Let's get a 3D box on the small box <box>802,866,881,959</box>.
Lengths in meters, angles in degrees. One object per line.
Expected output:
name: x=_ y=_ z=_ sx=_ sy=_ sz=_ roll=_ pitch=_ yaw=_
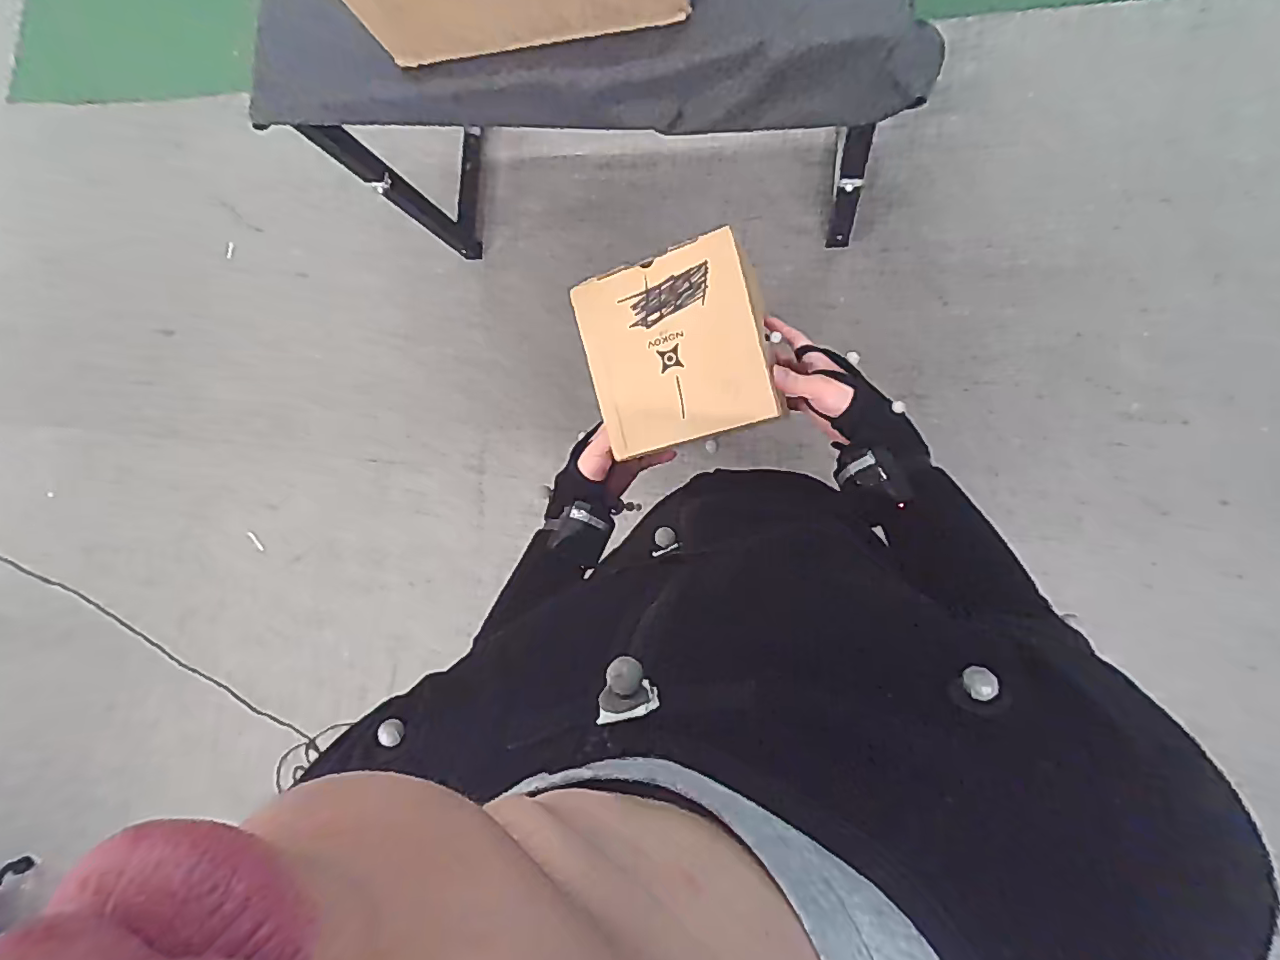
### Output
small box: x=0.502 y=1.110 z=1.354 sx=0.168 sy=0.176 sz=0.179 roll=-8 pitch=88 yaw=16
